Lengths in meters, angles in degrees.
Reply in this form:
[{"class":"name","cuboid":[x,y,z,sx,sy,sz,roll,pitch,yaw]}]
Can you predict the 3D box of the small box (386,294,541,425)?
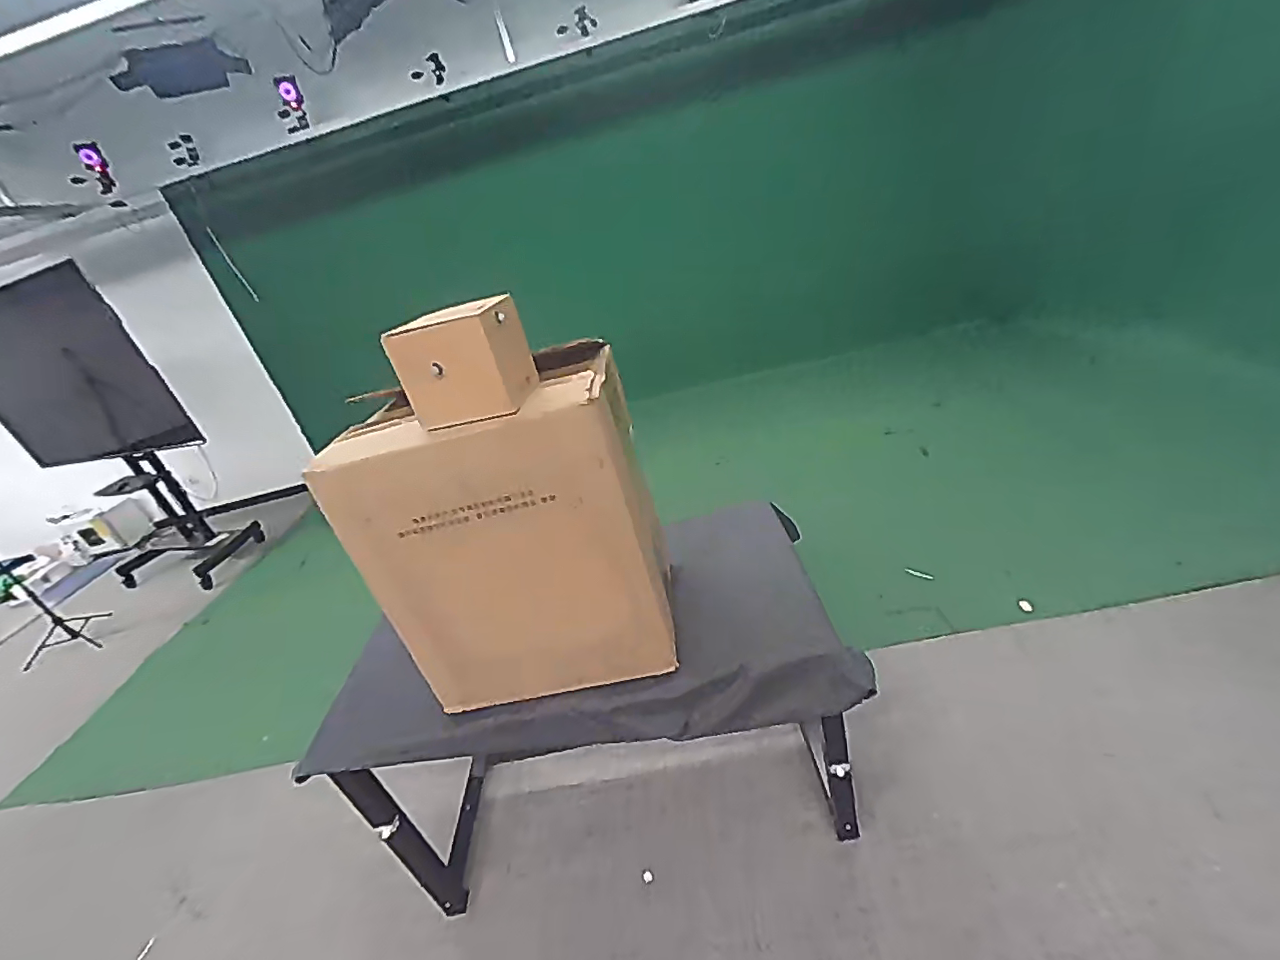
[{"class":"small box","cuboid":[-0.298,-0.210,0.952,0.179,0.176,0.168,-10,28,12]}]
